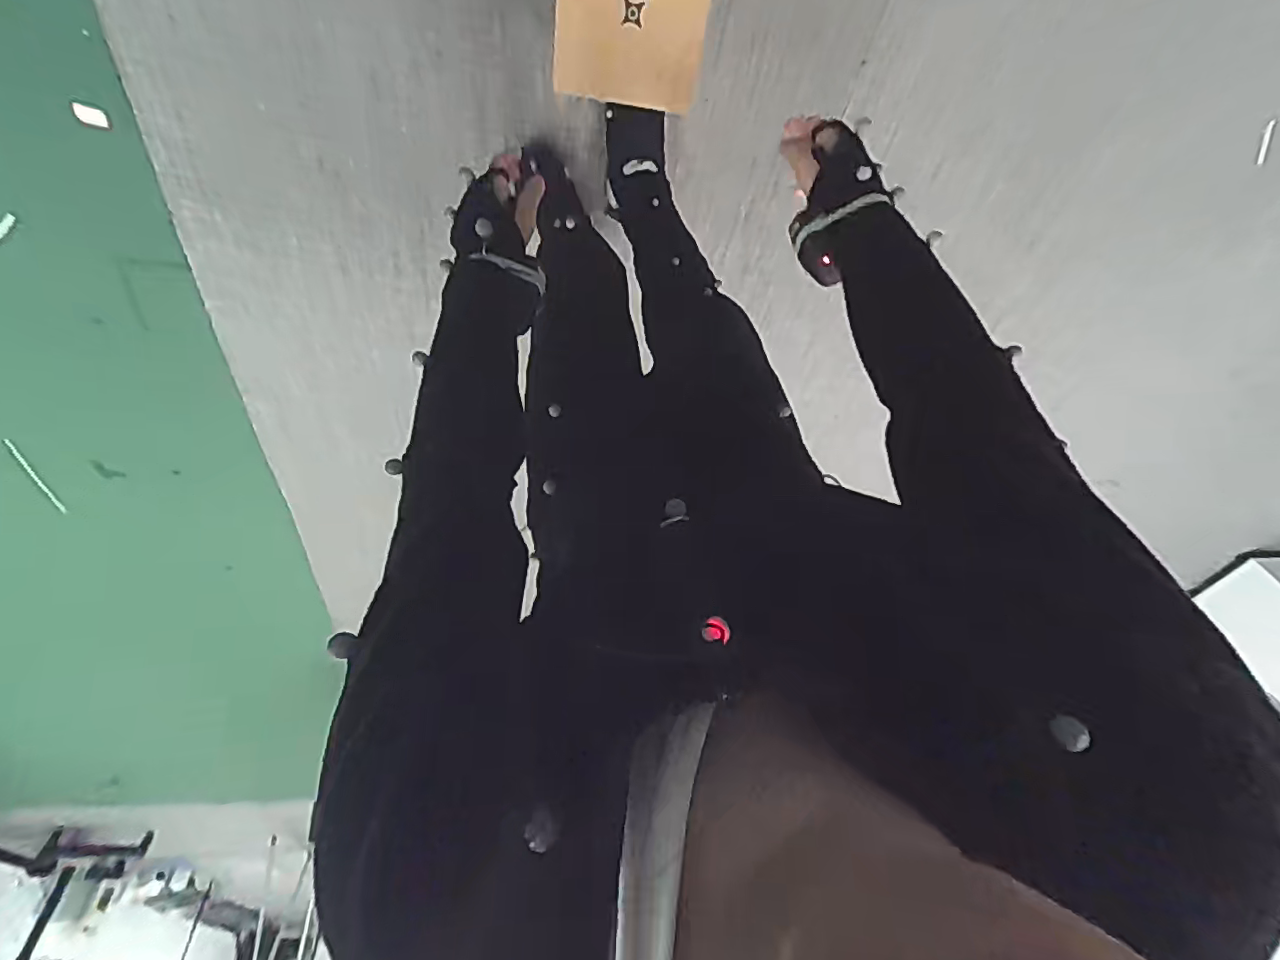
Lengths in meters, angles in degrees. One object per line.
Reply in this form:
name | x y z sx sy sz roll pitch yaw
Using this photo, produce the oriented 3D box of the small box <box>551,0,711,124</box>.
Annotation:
small box | -0.013 -0.553 0.635 0.168 0.176 0.179 4 134 -9
